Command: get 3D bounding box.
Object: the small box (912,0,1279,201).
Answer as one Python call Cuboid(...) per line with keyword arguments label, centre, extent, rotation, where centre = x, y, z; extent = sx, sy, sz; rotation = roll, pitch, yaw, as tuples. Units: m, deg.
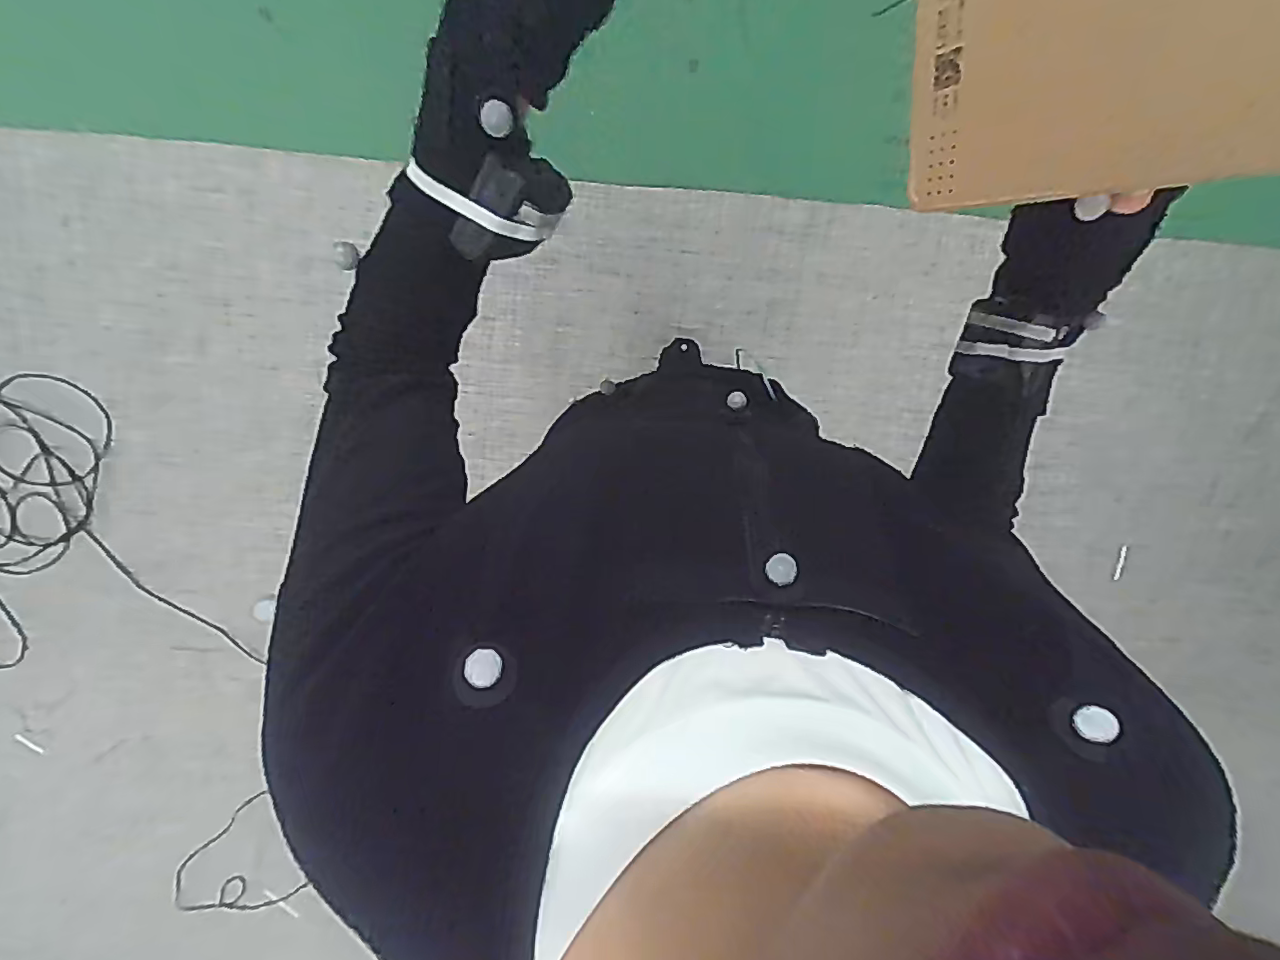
Cuboid(label="small box", centre=(0.245, -0.216, 0.214), extent=(0.179, 0.176, 0.168), rotation=(-16, 116, -16))
